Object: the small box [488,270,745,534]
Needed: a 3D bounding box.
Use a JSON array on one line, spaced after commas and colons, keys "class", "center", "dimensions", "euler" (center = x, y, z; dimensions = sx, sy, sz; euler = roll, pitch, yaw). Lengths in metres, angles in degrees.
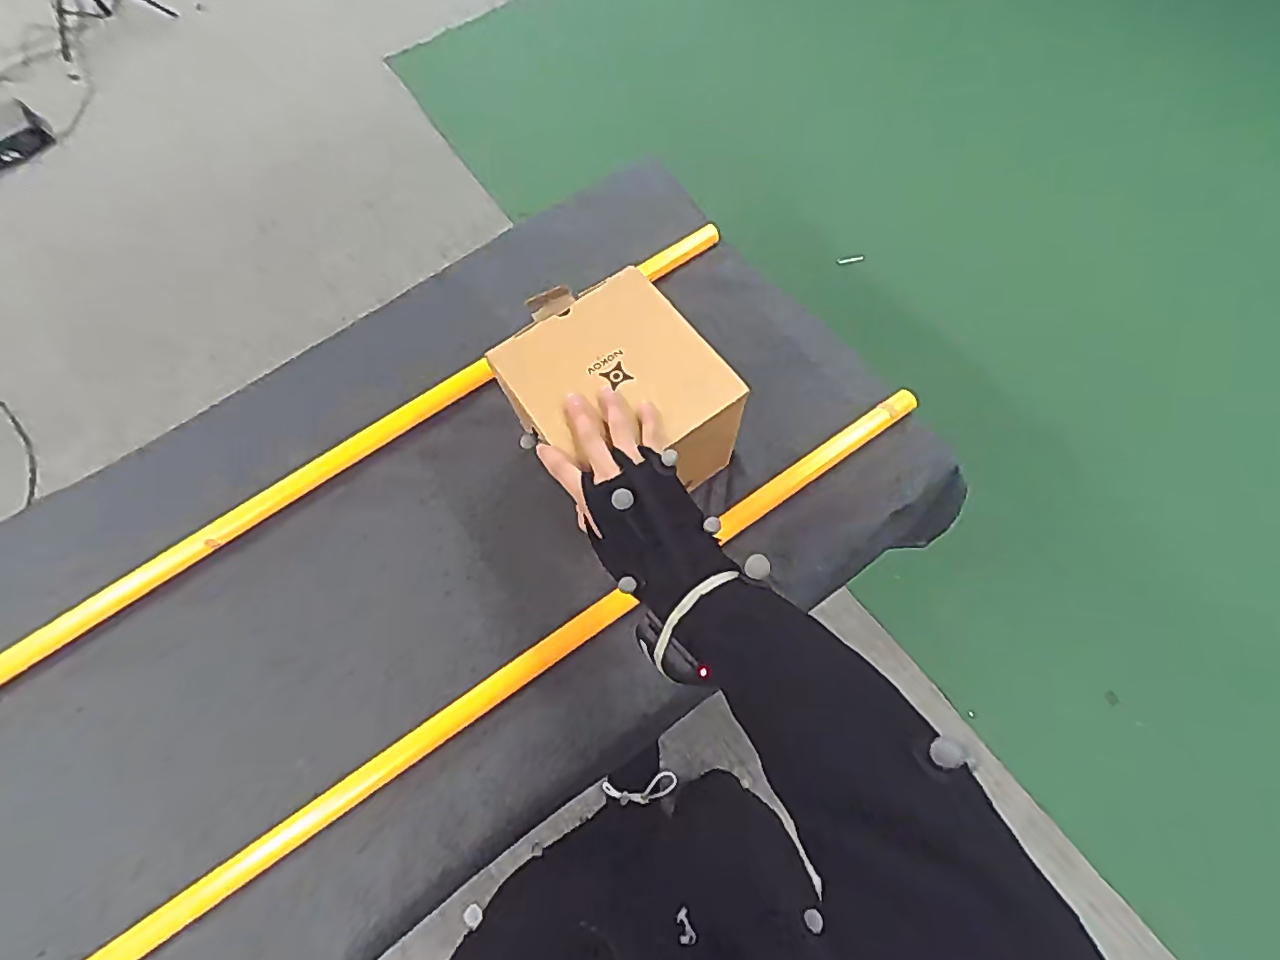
[{"class": "small box", "center": [-0.017, -0.063, 0.546], "dimensions": [0.168, 0.176, 0.179], "euler": [-35, 70, -10]}]
